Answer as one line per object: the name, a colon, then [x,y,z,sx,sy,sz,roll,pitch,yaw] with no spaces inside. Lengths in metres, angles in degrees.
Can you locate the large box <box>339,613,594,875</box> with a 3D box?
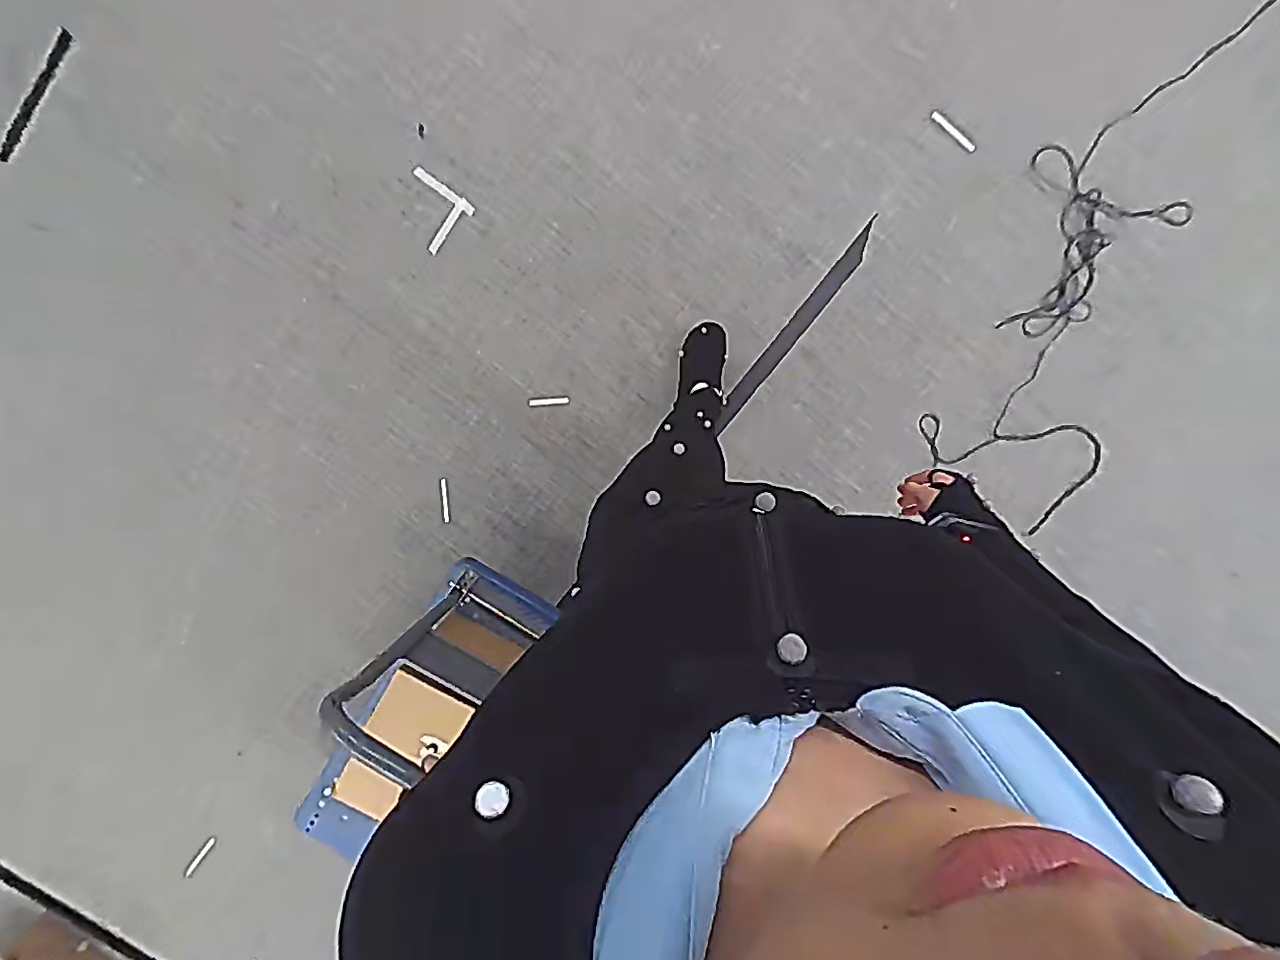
large box: [-0.361,0.570,1.228,0.408,0.320,0.320,29,96,-3]
